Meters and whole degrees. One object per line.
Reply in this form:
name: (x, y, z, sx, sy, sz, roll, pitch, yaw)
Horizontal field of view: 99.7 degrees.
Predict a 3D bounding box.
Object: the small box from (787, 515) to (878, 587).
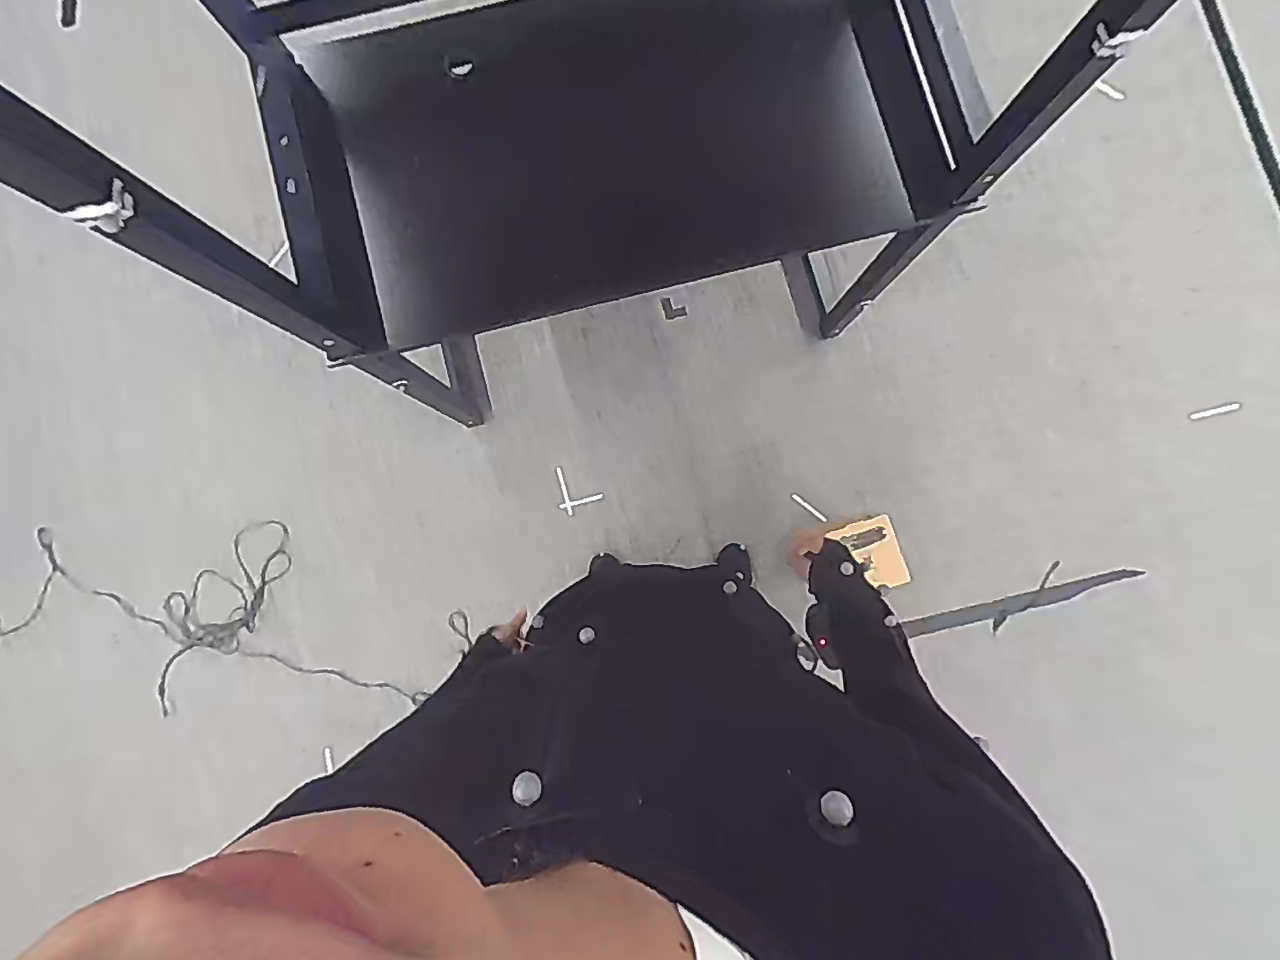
small box: (0.547, 0.198, 1.557, 0.179, 0.176, 0.168, -15, 86, 0)
